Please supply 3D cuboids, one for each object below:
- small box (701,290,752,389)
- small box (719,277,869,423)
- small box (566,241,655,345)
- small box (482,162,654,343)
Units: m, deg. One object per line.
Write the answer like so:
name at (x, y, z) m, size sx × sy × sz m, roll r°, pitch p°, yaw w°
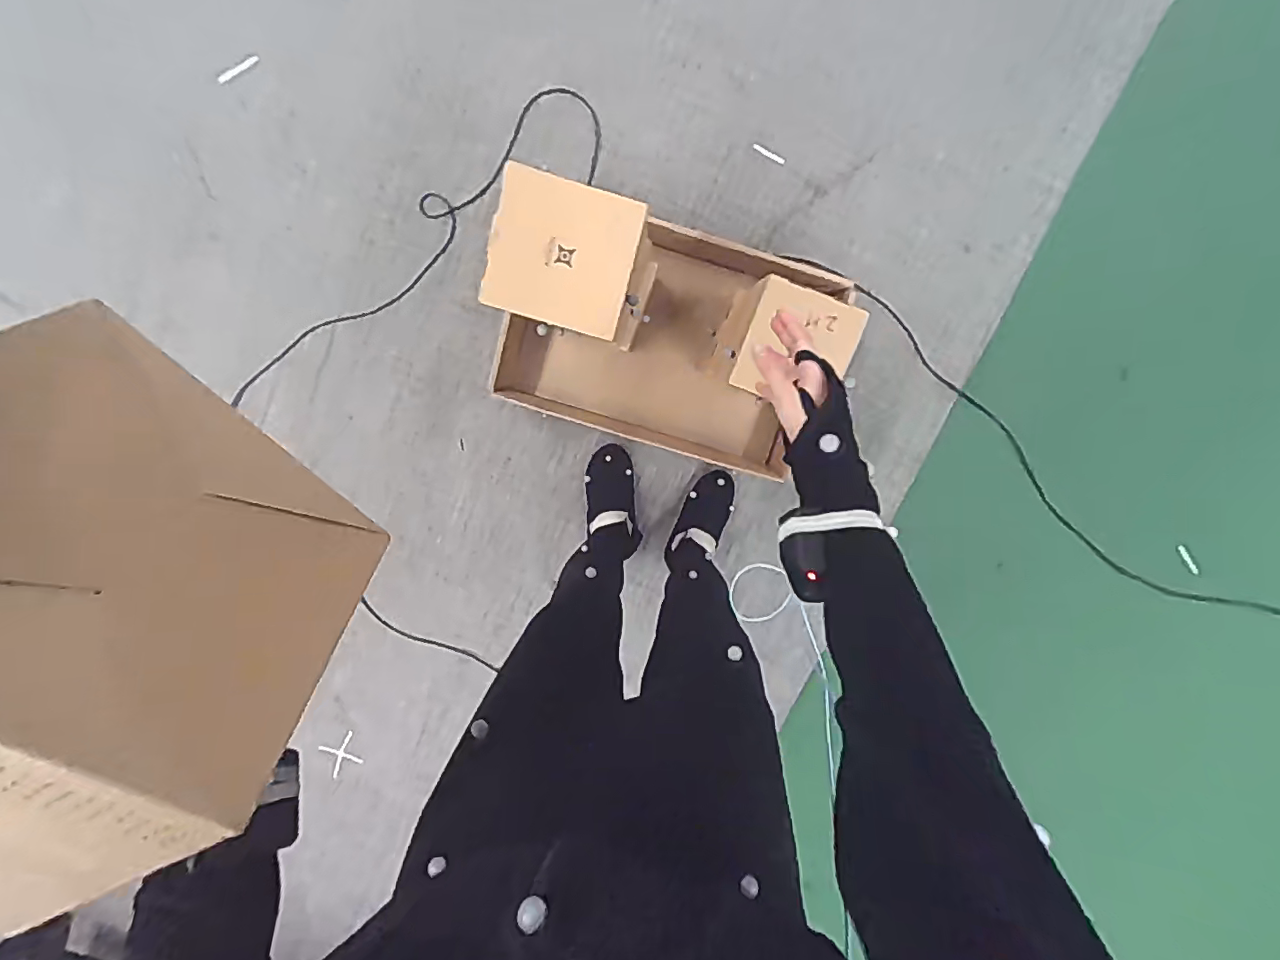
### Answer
small box at (0.231, -0.252, 1.067) m, size 0.179 × 0.176 × 0.168 m, roll 21°, pitch 101°, yaw -4°
small box at (0.243, -0.212, 0.907) m, size 0.168 × 0.176 × 0.179 m, roll 21°, pitch 100°, yaw -5°
small box at (-0.087, -0.326, 0.887) m, size 0.179 × 0.176 × 0.168 m, roll 21°, pitch 102°, yaw -5°
small box at (-0.087, -0.290, 0.728) m, size 0.179 × 0.176 × 0.168 m, roll 17°, pitch 103°, yaw -2°
